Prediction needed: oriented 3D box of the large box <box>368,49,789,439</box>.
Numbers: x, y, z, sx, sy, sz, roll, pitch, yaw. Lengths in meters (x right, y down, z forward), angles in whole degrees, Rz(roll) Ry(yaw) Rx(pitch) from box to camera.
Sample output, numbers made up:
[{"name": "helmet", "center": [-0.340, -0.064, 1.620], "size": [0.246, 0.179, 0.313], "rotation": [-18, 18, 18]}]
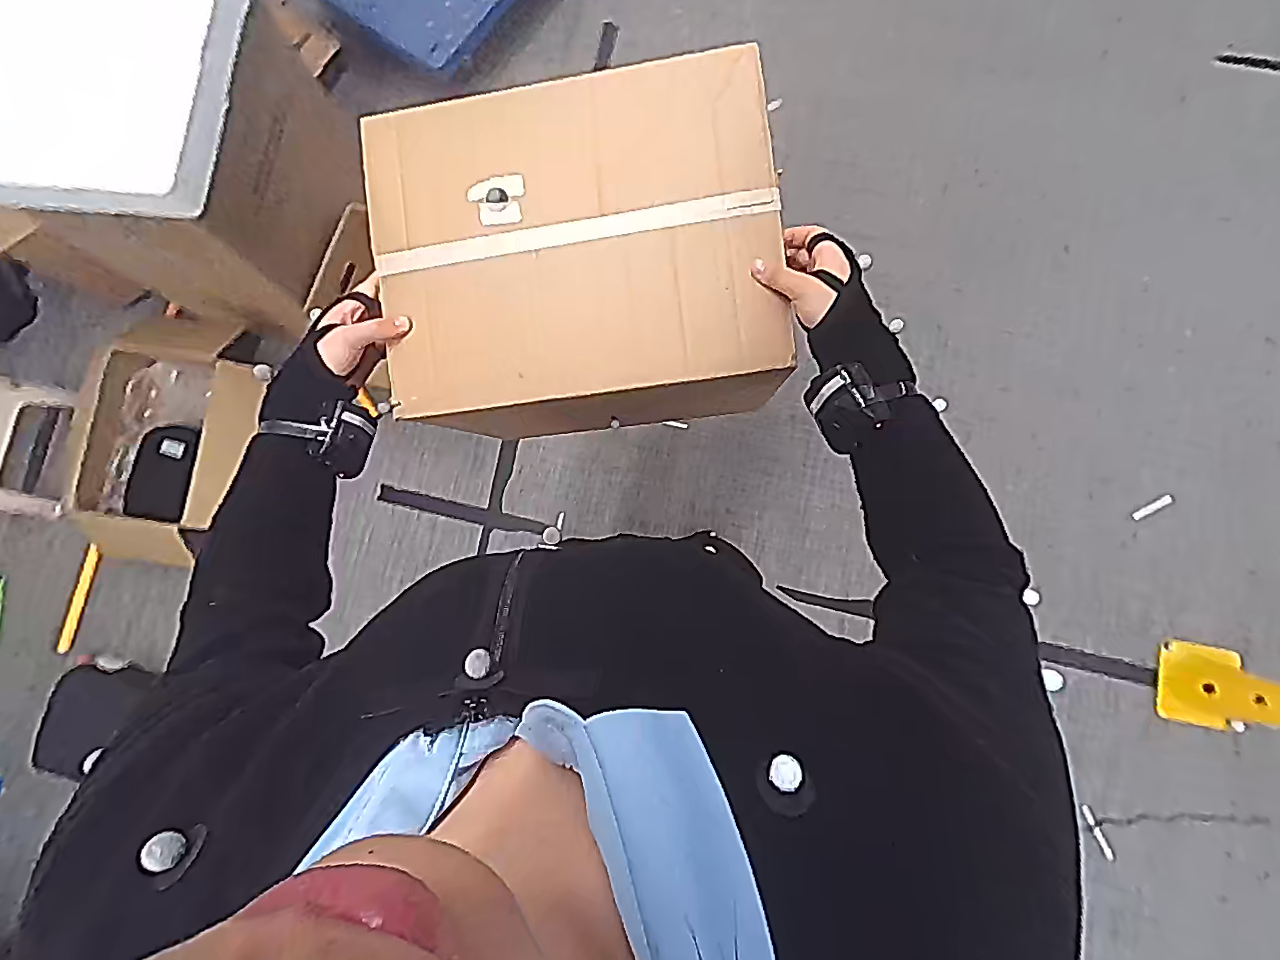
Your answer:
[{"name": "large box", "center": [-0.053, -0.239, 0.689], "size": [0.408, 0.320, 0.320], "rotation": [-8, 88, 7]}]
